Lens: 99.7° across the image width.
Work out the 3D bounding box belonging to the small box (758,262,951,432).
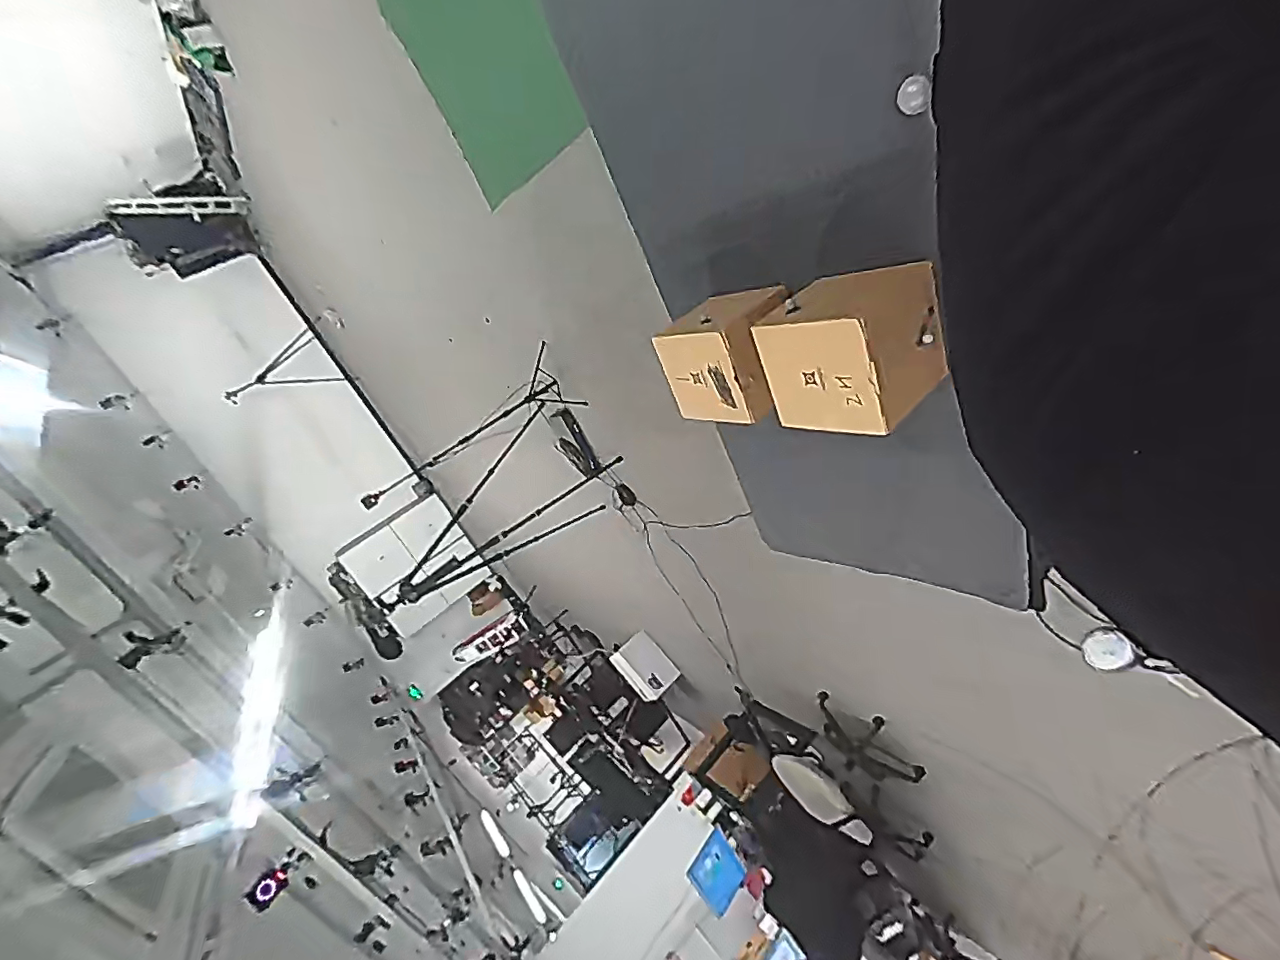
[{"bbox_3d":[0.304,-0.187,0.766,0.179,0.176,0.168,14,137,53],"label":"small box"}]

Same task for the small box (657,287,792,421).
[{"bbox_3d":[0.168,-0.220,0.947,0.179,0.176,0.168,13,136,52],"label":"small box"}]
